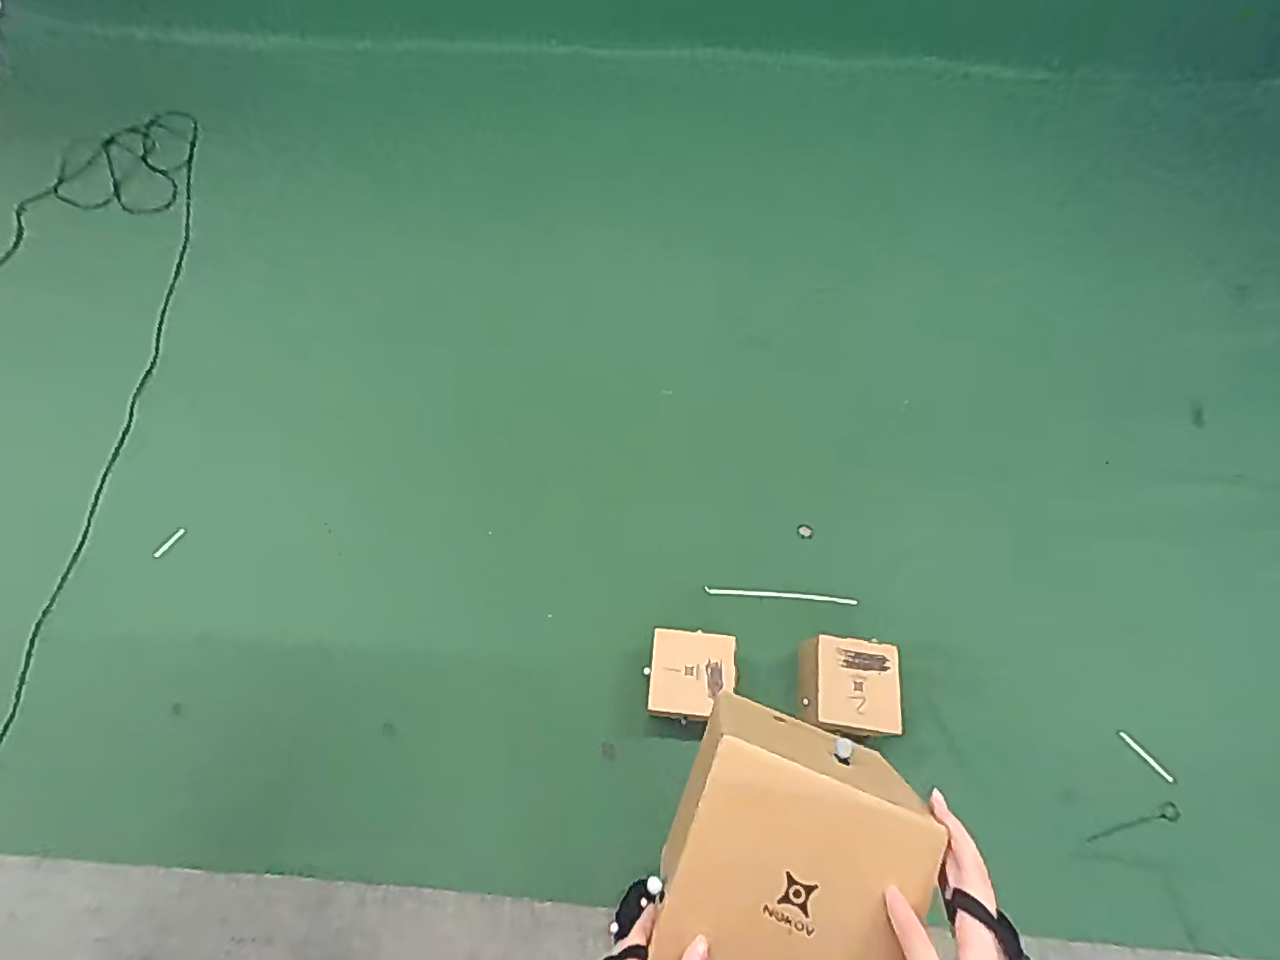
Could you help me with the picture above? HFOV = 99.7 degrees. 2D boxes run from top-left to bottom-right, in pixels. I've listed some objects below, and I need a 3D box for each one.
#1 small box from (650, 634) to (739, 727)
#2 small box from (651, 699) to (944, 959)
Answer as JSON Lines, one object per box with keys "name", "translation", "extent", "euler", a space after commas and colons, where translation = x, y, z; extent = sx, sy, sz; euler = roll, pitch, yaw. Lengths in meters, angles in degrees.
{"name": "small box", "translation": [0.117, 0.445, 1.186], "extent": [0.179, 0.176, 0.168], "euler": [5, 63, 4]}
{"name": "small box", "translation": [0.119, 0.311, 0.459], "extent": [0.168, 0.176, 0.179], "euler": [19, 84, 10]}
